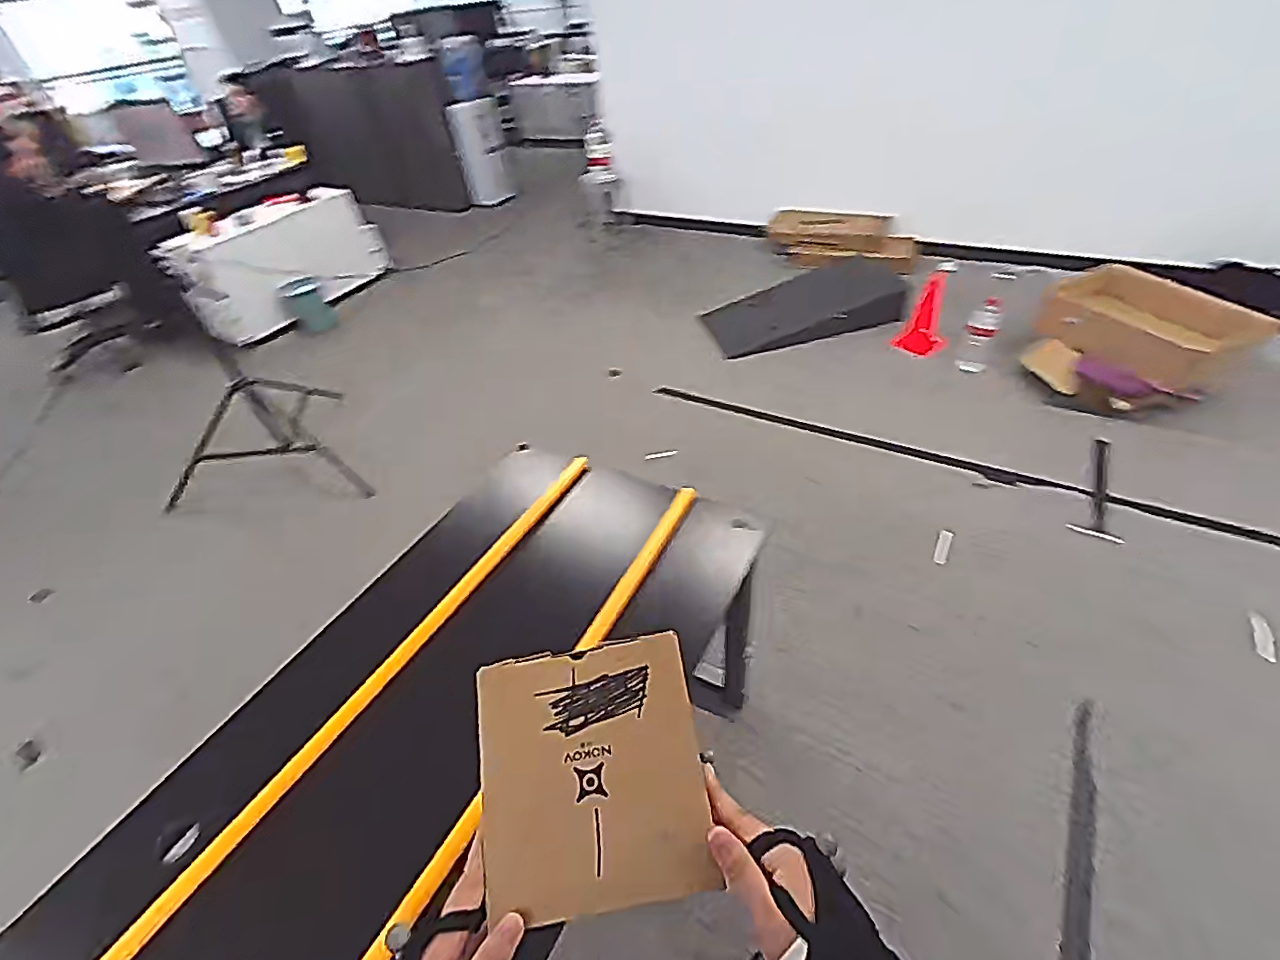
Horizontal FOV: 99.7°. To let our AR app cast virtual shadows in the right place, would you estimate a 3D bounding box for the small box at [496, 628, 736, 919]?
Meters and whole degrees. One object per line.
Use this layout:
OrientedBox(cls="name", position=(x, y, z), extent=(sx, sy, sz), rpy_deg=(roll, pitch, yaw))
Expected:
OrientedBox(cls="small box", position=(-0.021, 0.247, 0.477), extent=(0.168, 0.176, 0.179), rpy_deg=(-10, 63, 0))
